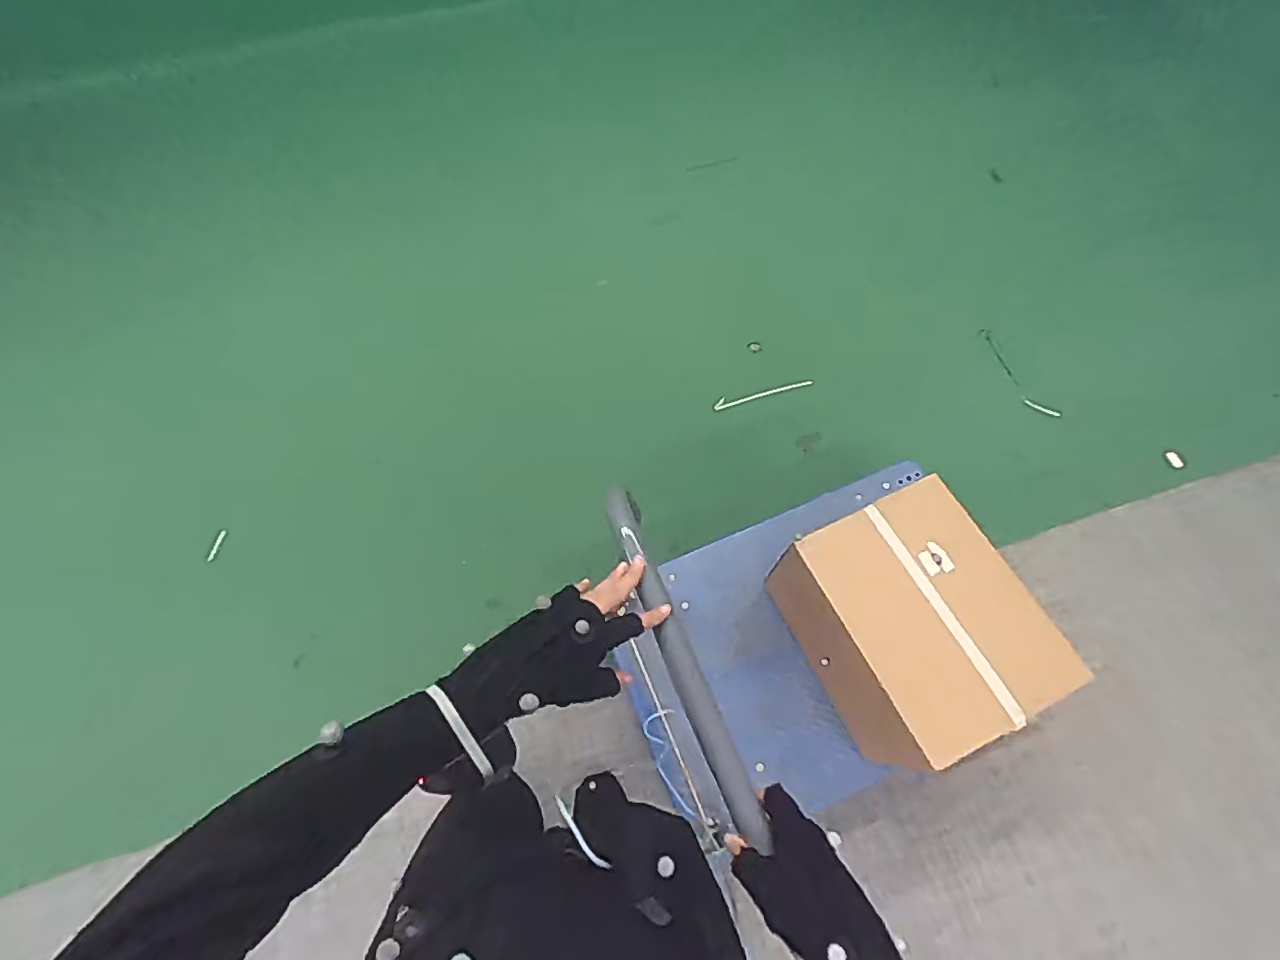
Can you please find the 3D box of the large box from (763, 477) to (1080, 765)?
[{"bbox_3d":[0.488,0.275,1.047,0.320,0.320,0.408,-23,66,-8],"label":"large box"}]
